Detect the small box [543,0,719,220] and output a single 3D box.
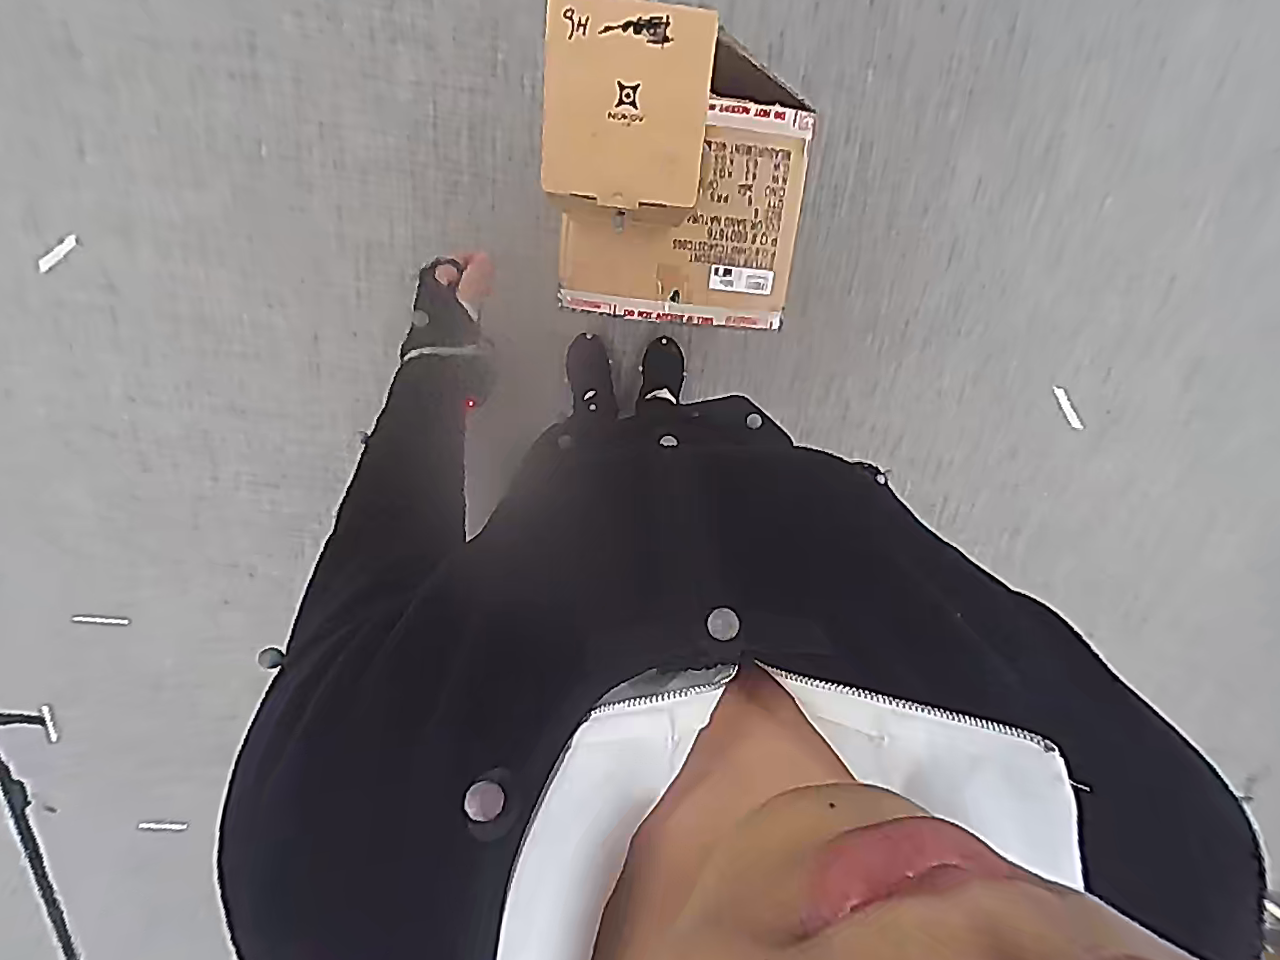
[{"bbox_3d":[-0.013,-0.404,0.617,0.168,0.176,0.179,5,111,-2],"label":"small box"}]
